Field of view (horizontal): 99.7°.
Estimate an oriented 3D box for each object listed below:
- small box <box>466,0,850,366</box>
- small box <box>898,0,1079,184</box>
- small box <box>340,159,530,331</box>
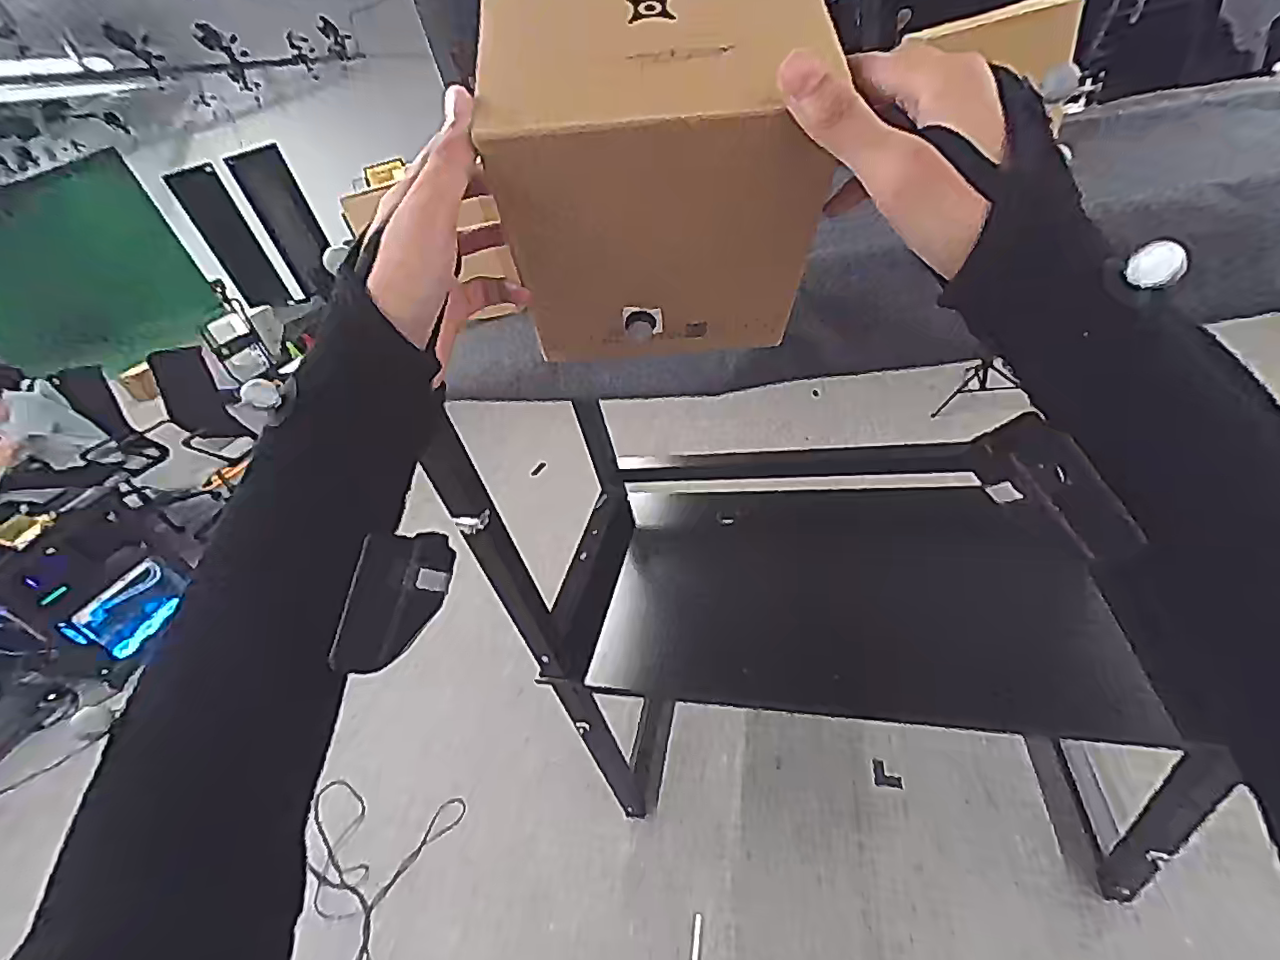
[{"bbox_3d":[0.005,-0.195,0.335,0.168,0.176,0.179,-6,65,0],"label":"small box"},{"bbox_3d":[0.455,-0.522,0.738,0.168,0.176,0.179,-3,38,18],"label":"small box"},{"bbox_3d":[-0.240,-0.309,0.716,0.179,0.176,0.168,-4,37,15],"label":"small box"}]
